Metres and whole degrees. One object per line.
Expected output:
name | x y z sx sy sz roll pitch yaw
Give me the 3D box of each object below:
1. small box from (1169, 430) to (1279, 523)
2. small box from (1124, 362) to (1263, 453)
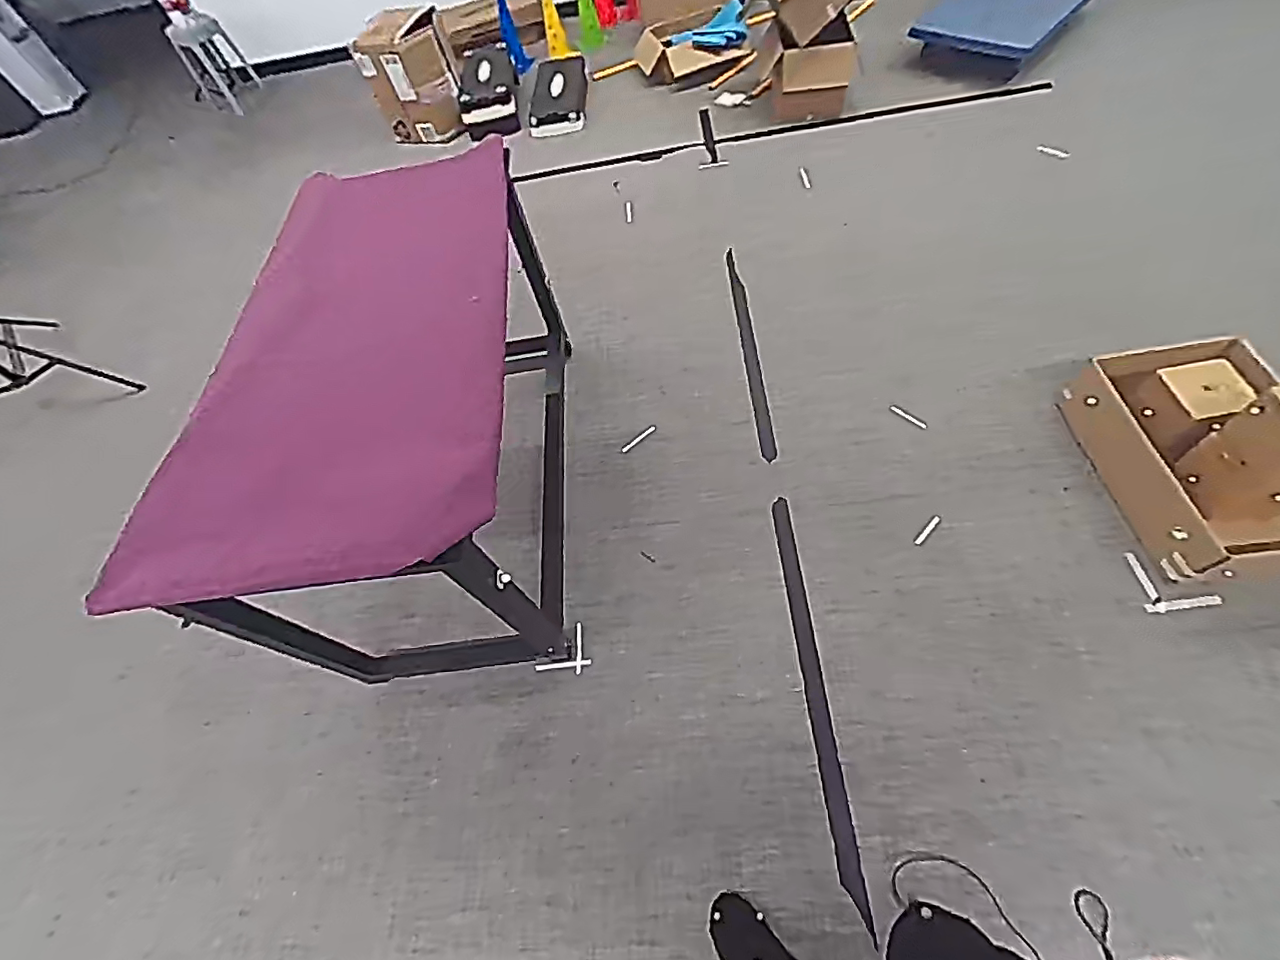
small box | 1.498 -0.005 1.342 0.179 0.176 0.168 -4 56 8
small box | 1.464 -0.188 1.453 0.179 0.176 0.168 -9 60 4
